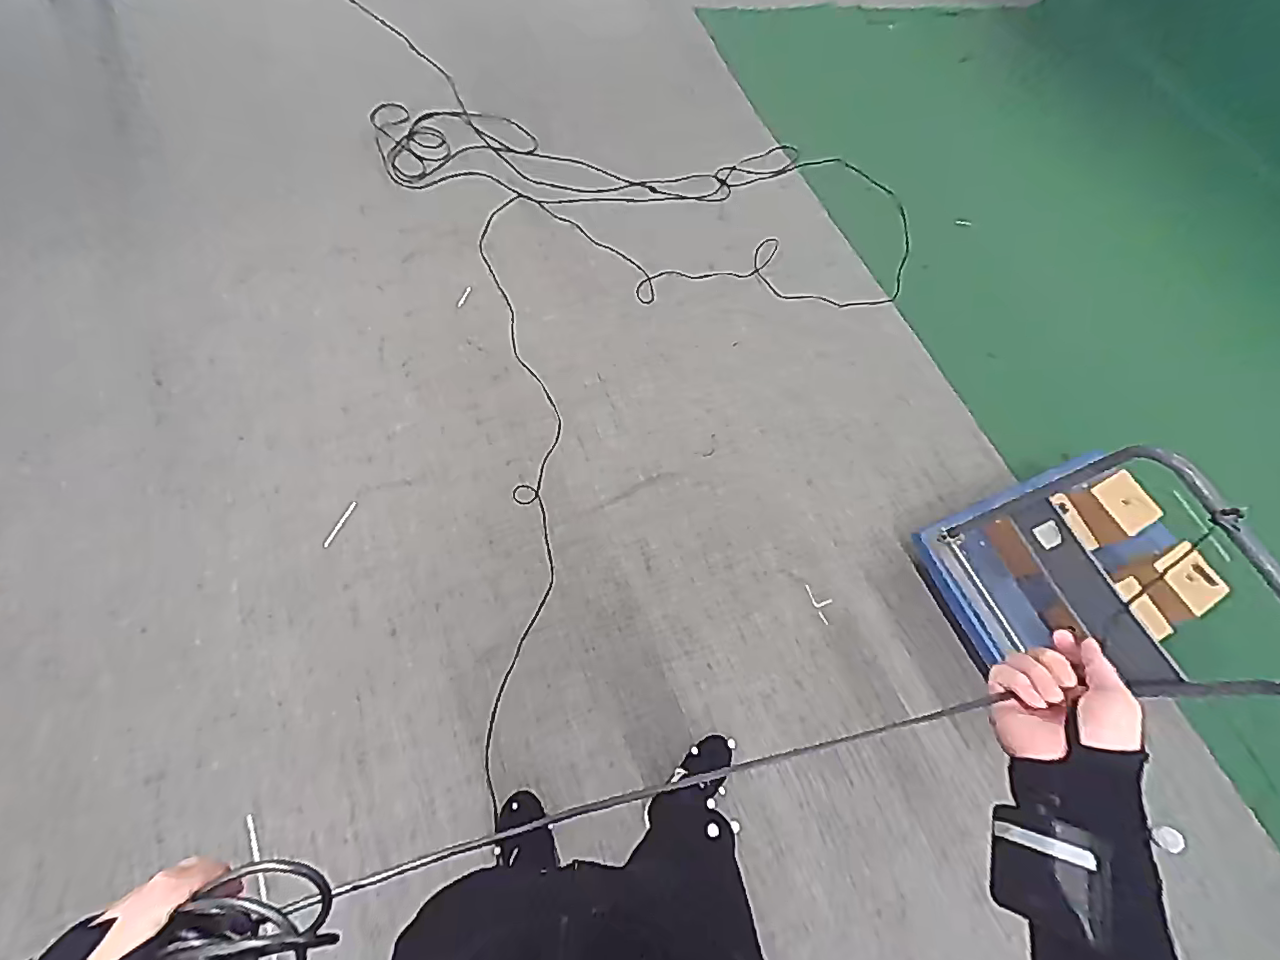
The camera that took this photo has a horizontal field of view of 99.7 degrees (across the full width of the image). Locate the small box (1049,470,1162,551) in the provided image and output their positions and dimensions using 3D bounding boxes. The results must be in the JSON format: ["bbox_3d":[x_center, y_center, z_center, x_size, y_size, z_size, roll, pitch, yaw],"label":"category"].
[{"bbox_3d":[1.416,0.097,1.662,0.179,0.176,0.168,-22,73,-19],"label":"small box"}]

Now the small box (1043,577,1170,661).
[{"bbox_3d":[1.288,0.390,1.507,0.179,0.176,0.168,-18,71,-17],"label":"small box"}]

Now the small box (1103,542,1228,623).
[{"bbox_3d":[1.532,0.308,1.588,0.179,0.176,0.168,-23,71,-18],"label":"small box"}]
